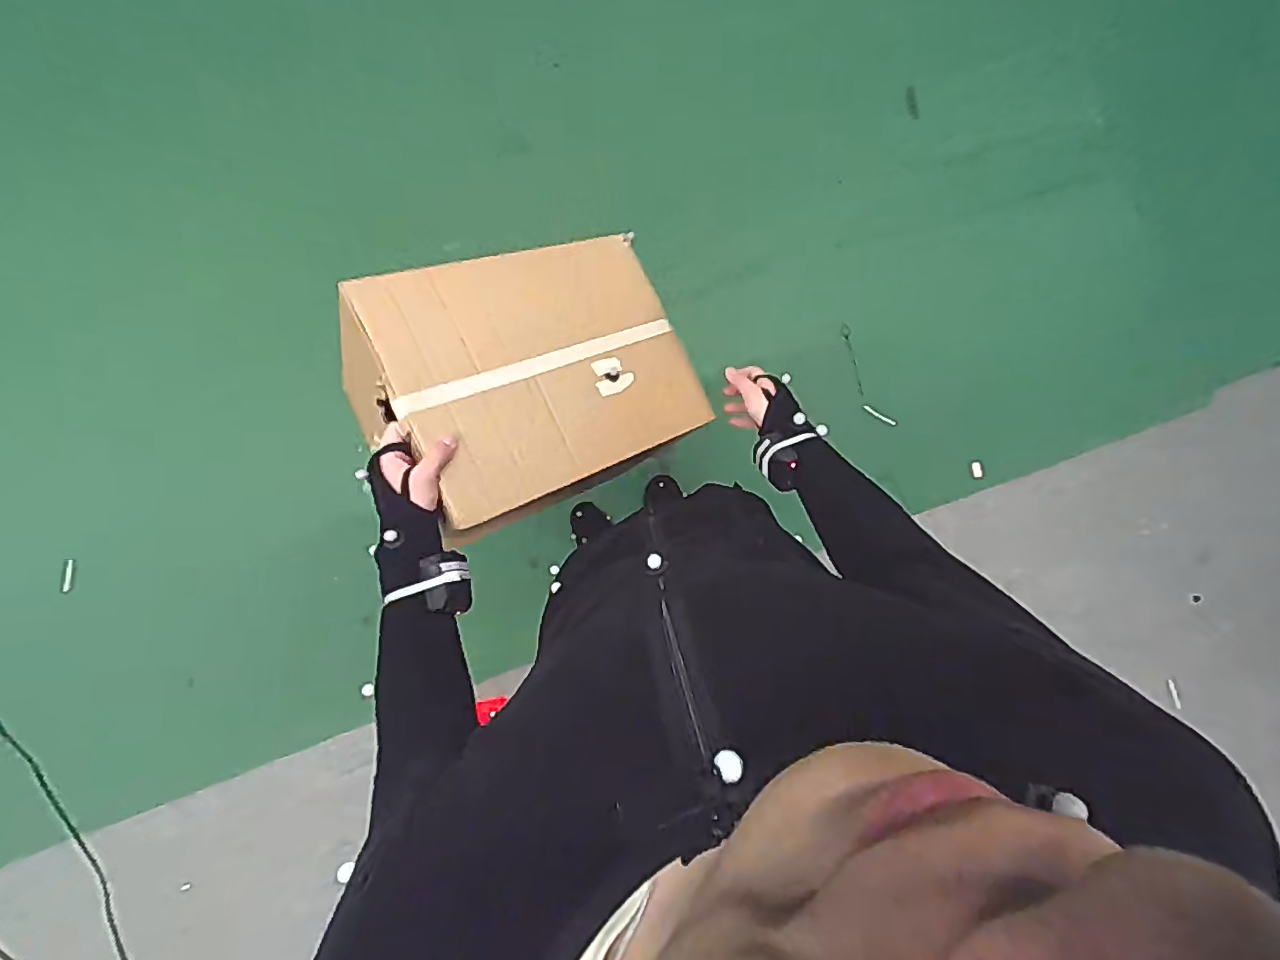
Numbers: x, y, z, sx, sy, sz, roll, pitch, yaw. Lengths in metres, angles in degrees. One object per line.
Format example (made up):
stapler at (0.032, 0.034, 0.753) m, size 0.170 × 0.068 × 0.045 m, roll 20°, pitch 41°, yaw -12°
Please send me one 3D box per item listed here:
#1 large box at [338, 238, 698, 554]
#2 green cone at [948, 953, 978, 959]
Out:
large box at (-0.197, -0.124, 0.849) m, size 0.408 × 0.320 × 0.320 m, roll -27°, pitch 91°, yaw -33°
green cone at (1.017, 1.616, 1.544) m, size 0.200 × 0.368 × 0.202 m, roll -13°, pitch 89°, yaw -7°
